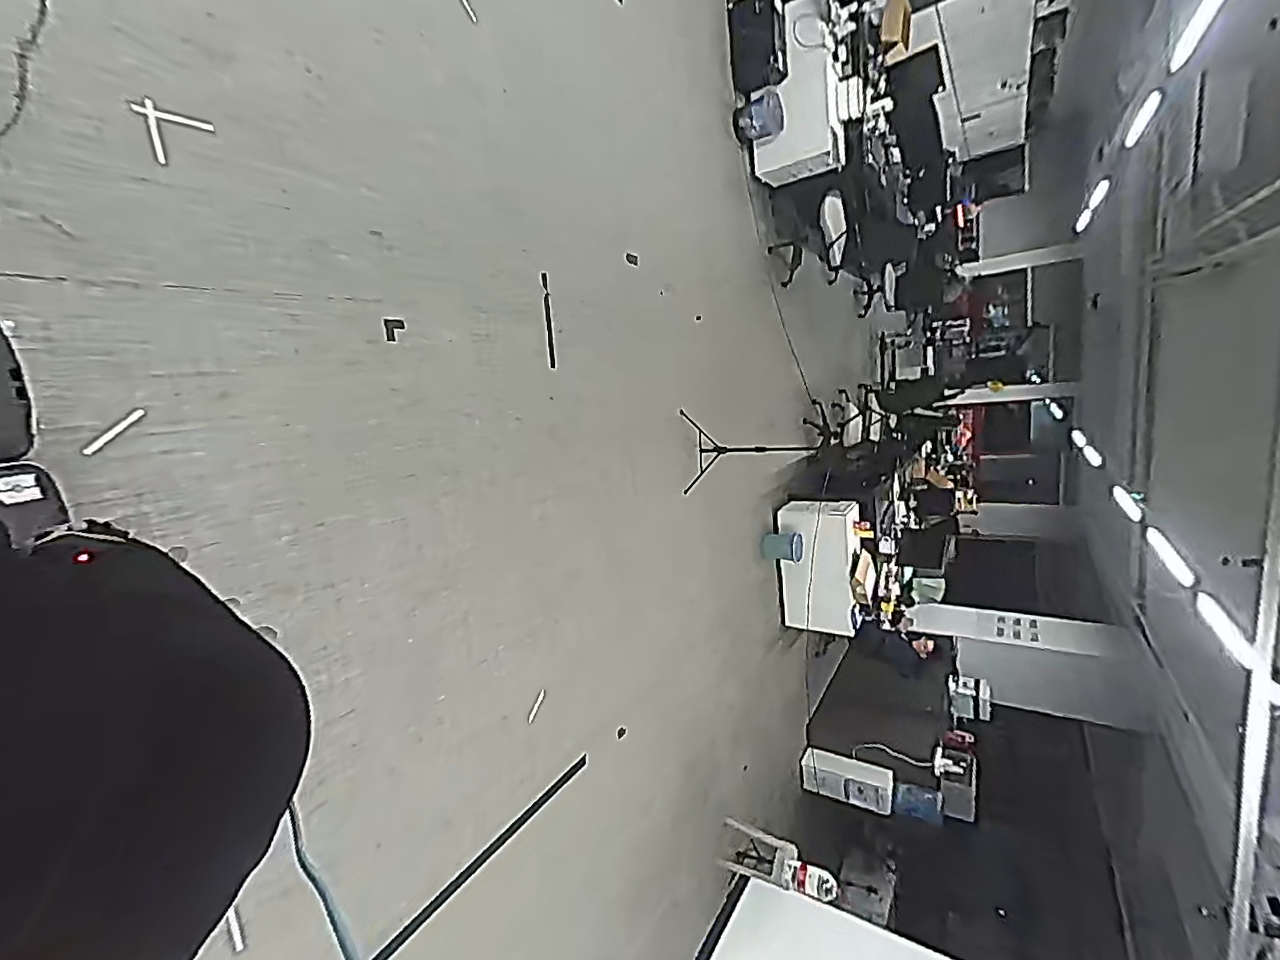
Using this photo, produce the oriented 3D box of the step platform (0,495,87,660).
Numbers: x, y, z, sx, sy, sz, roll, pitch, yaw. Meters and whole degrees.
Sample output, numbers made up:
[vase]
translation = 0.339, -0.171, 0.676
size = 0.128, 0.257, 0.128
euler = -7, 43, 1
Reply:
[step platform]
translation = -1.305, 0.200, 0.797
size = 0.684, 0.204, 0.286
euler = -10, 97, -54
